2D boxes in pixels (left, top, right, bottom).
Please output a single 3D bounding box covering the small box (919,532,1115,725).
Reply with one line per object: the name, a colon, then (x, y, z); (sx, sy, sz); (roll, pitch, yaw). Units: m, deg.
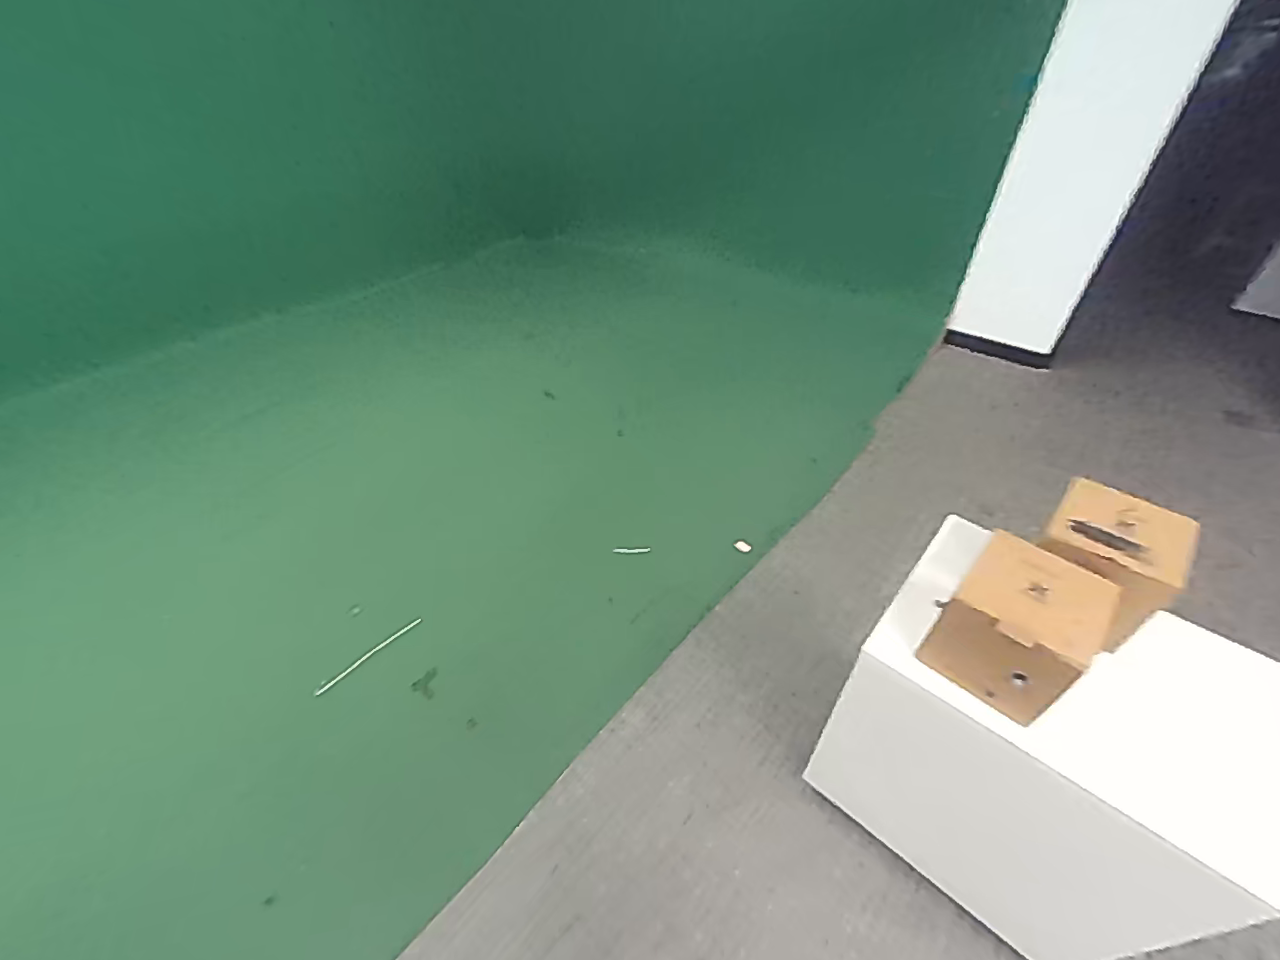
small box: (0.538, 0.217, 0.793); (0.168, 0.176, 0.179); (32, 50, 30)
